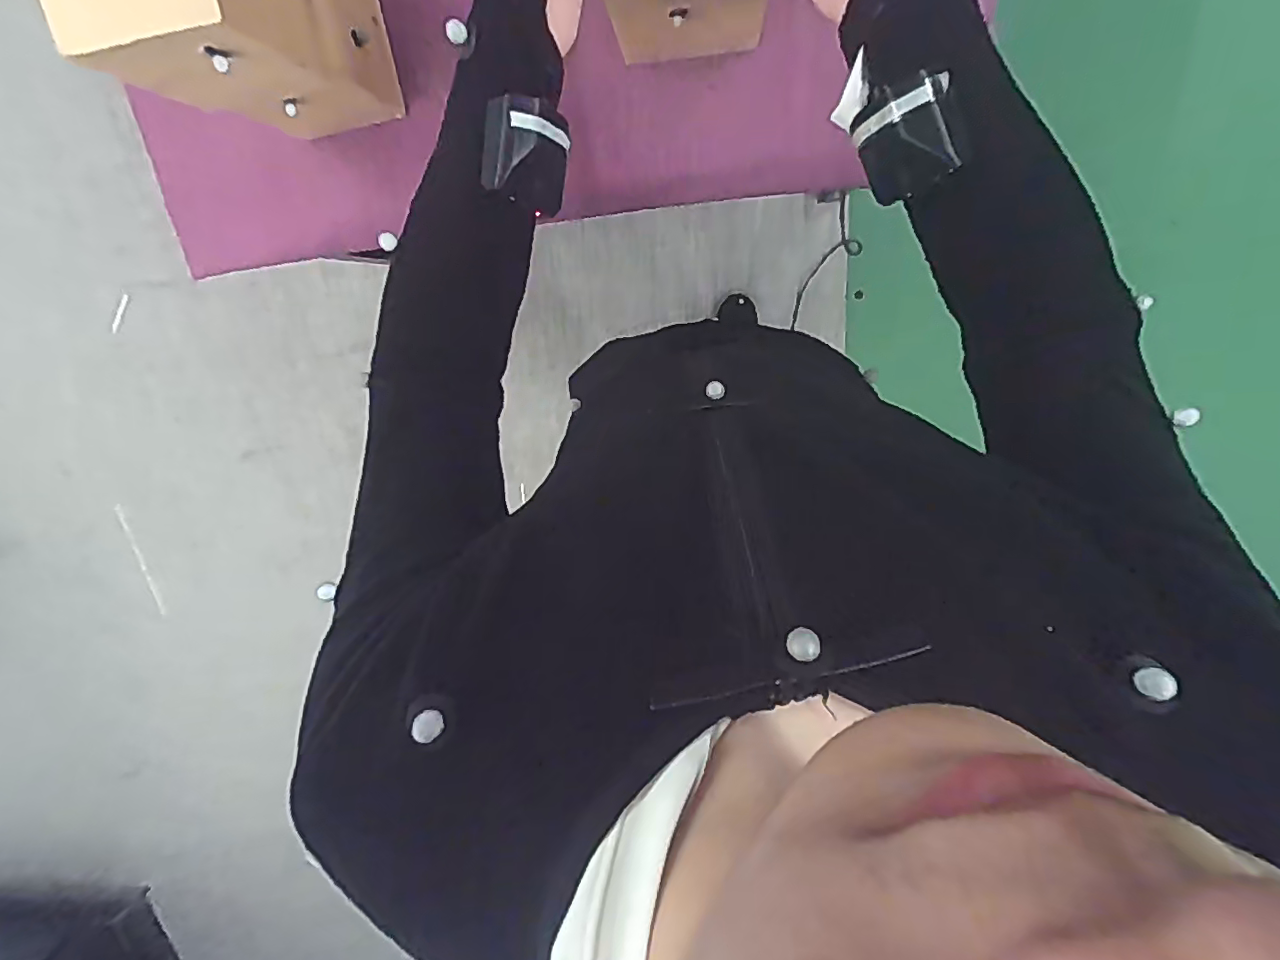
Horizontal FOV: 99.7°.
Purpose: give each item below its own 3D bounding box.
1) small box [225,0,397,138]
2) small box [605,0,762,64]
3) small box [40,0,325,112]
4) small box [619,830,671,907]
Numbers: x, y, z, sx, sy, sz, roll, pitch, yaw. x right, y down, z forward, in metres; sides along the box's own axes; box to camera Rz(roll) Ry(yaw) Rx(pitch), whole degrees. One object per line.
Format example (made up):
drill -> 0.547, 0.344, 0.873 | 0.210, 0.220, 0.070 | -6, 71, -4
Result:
small box -> -0.439, -0.565, 0.692 | 0.179, 0.176, 0.168 | -6, 108, 9
small box -> 0.052, -0.612, 0.619 | 0.179, 0.176, 0.168 | -2, 108, 7
small box -> -0.452, -0.498, 0.540 | 0.179, 0.176, 0.168 | -5, 108, 8
small box -> 0.020, 1.484, 2.076 | 0.179, 0.176, 0.168 | 5, 109, 5
